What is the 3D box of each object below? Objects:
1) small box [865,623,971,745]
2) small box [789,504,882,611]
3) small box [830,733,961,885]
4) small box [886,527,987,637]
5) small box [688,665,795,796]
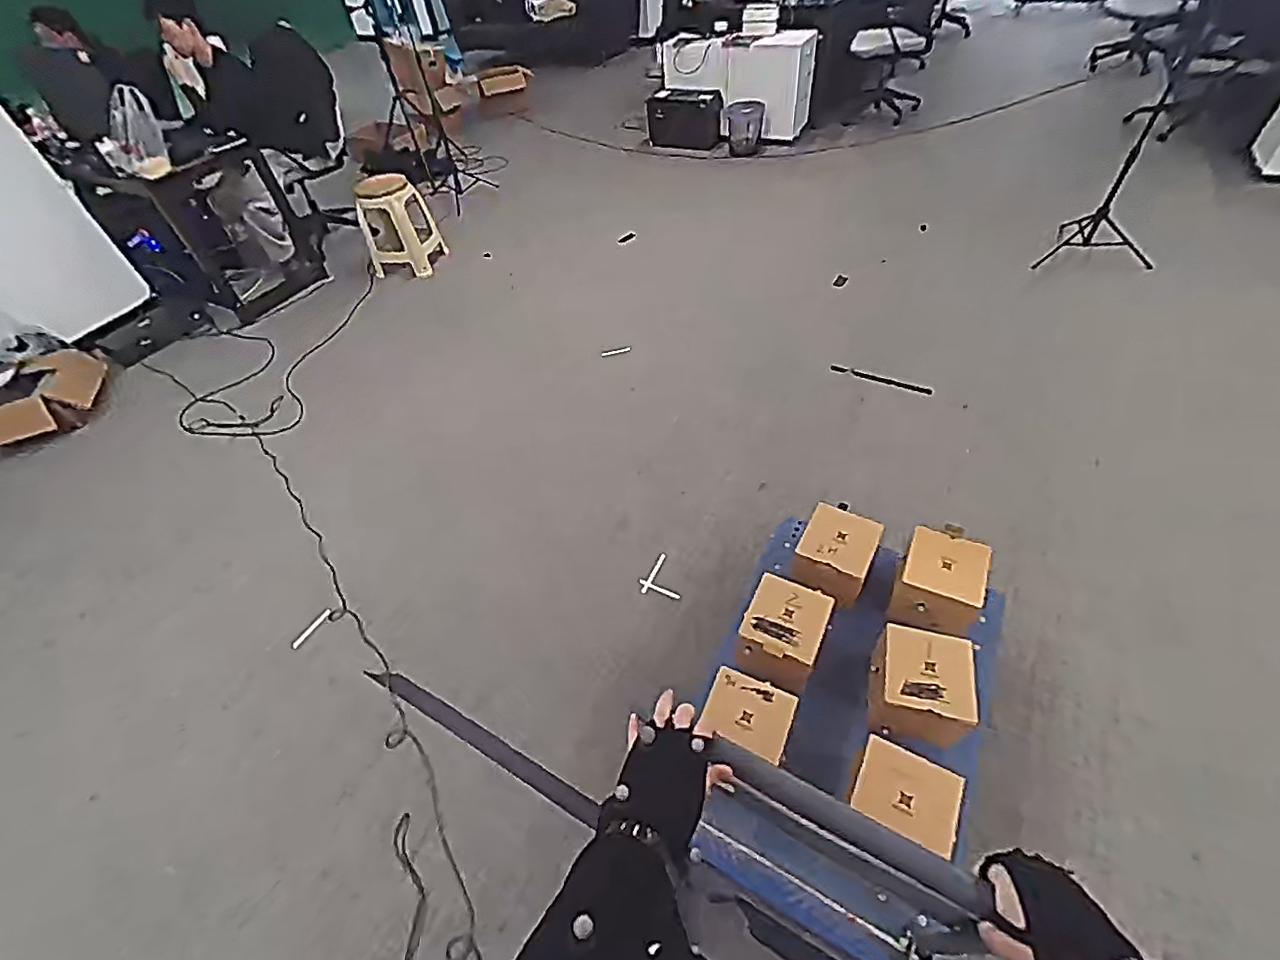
[{"bbox_3d":[0.588,0.439,1.157,0.168,0.176,0.179,10,50,16],"label":"small box"},{"bbox_3d":[0.491,0.198,1.378,0.168,0.176,0.179,22,56,24],"label":"small box"},{"bbox_3d":[0.470,0.620,1.014,0.168,0.176,0.179,21,54,23],"label":"small box"},{"bbox_3d":[0.710,0.249,1.309,0.168,0.176,0.179,18,53,22],"label":"small box"},{"bbox_3d":[0.211,0.526,1.128,0.168,0.176,0.179,18,54,21],"label":"small box"}]
